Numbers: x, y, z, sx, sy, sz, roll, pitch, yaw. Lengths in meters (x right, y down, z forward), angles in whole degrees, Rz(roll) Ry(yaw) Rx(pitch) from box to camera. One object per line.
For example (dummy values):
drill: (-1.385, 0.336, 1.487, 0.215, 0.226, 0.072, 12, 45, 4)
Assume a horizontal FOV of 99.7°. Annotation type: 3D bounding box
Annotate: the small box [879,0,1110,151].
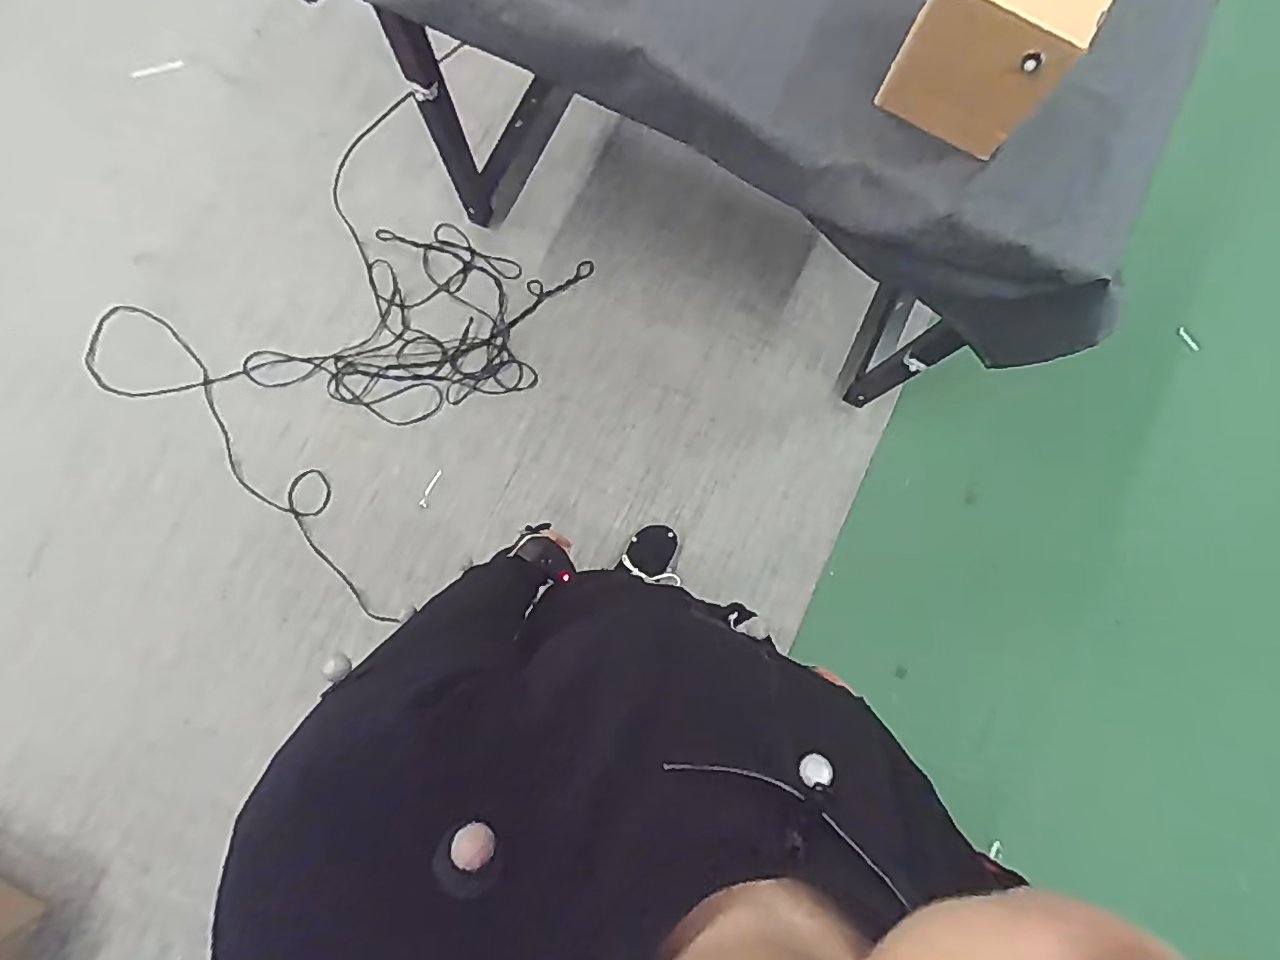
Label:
small box: (0.432, -0.555, 0.666, 0.179, 0.176, 0.168, 28, 82, 1)
